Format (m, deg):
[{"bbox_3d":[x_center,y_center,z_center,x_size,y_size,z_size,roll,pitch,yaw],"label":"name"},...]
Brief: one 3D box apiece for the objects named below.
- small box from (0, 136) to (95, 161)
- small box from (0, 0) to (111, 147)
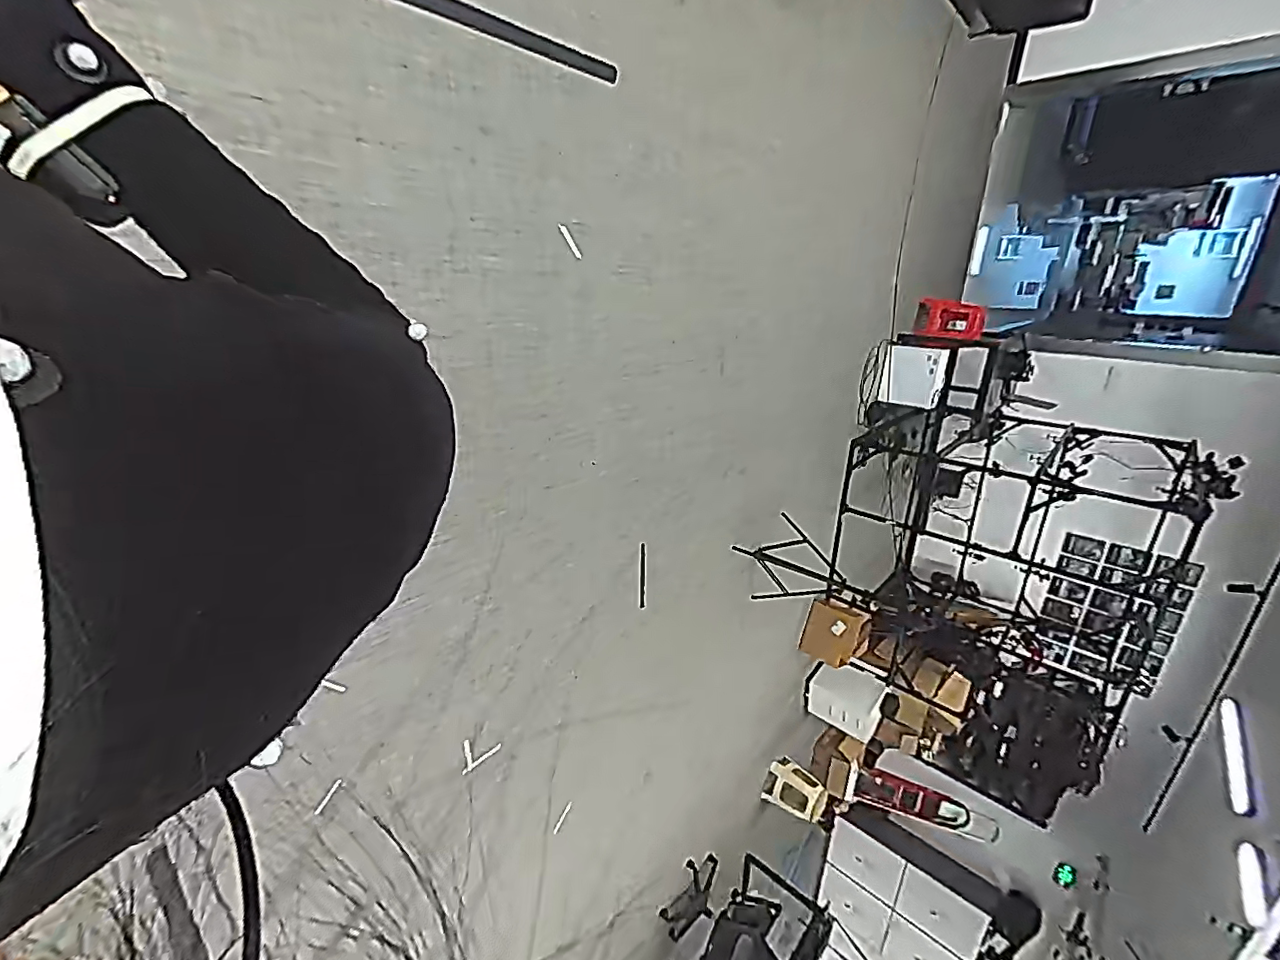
[{"bbox_3d":[-1.010,-0.624,0.861,0.168,0.176,0.179,-19,119,-45],"label":"small box"},{"bbox_3d":[-0.890,-0.581,0.755,0.179,0.176,0.168,-21,120,-45],"label":"small box"}]
